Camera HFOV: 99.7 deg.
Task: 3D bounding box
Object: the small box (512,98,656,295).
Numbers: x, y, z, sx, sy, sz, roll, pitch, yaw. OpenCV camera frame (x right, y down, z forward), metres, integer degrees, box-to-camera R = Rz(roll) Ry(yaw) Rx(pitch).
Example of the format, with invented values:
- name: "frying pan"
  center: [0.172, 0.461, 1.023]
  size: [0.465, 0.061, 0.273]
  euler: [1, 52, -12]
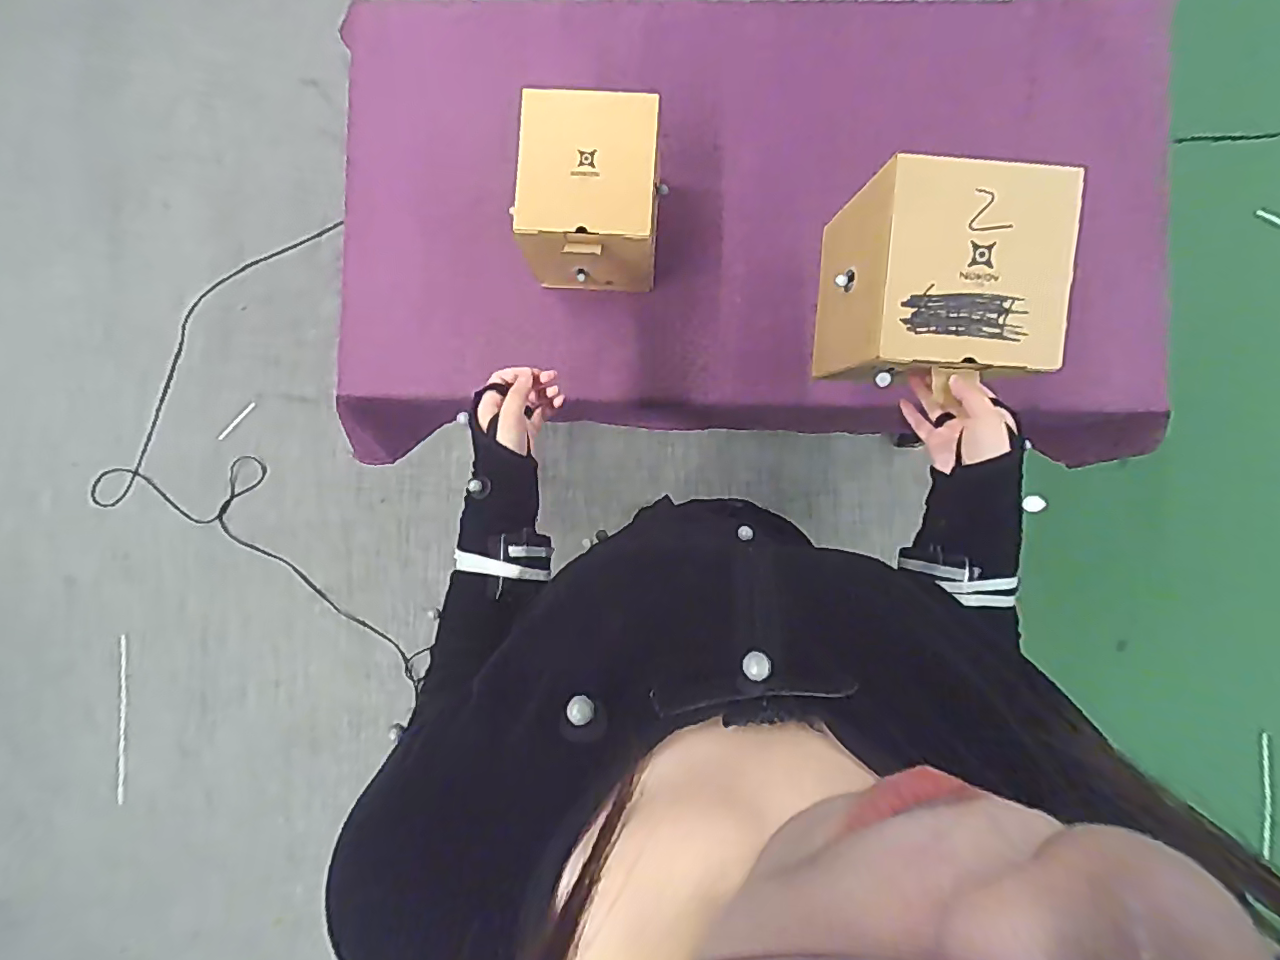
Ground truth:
- name: "small box"
  center: [-0.067, -0.373, 0.737]
  size: [0.168, 0.176, 0.179]
  euler: [4, 89, 1]
